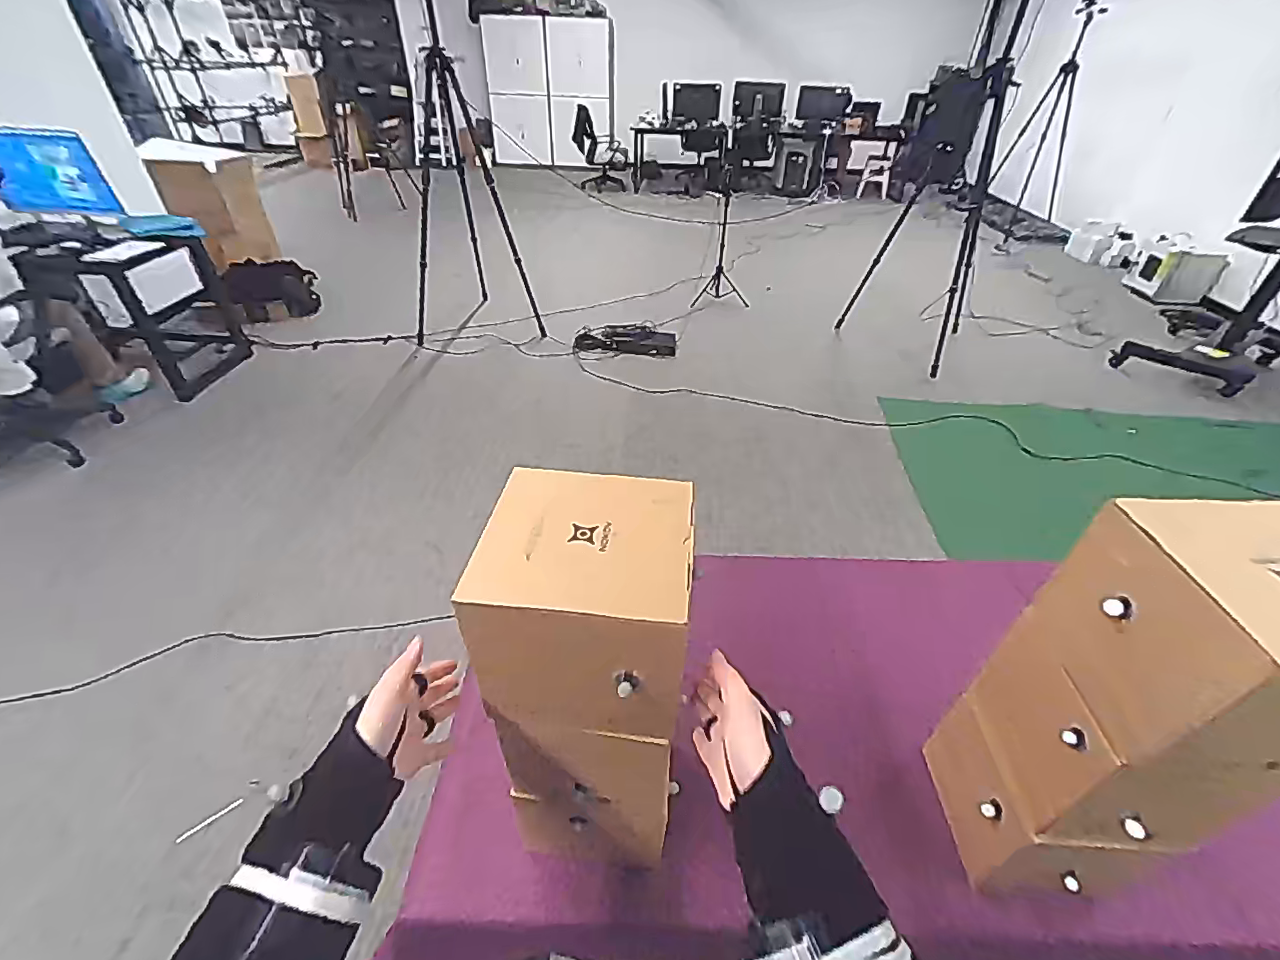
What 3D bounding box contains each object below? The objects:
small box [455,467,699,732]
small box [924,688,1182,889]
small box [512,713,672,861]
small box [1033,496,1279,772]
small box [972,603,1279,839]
[{"bbox_3d":[-0.042,0.109,0.498,0.179,0.176,0.168,4,38,4],"label":"small box"},{"bbox_3d":[0.496,0.391,0.686,0.168,0.176,0.179,3,38,1],"label":"small box"},{"bbox_3d":[-0.051,0.367,0.700,0.179,0.176,0.168,5,39,3],"label":"small box"},{"bbox_3d":[0.507,0.133,0.484,0.168,0.176,0.179,0,39,-1],"label":"small box"},{"bbox_3d":[0.504,0.259,0.590,0.168,0.176,0.179,3,40,1],"label":"small box"}]
